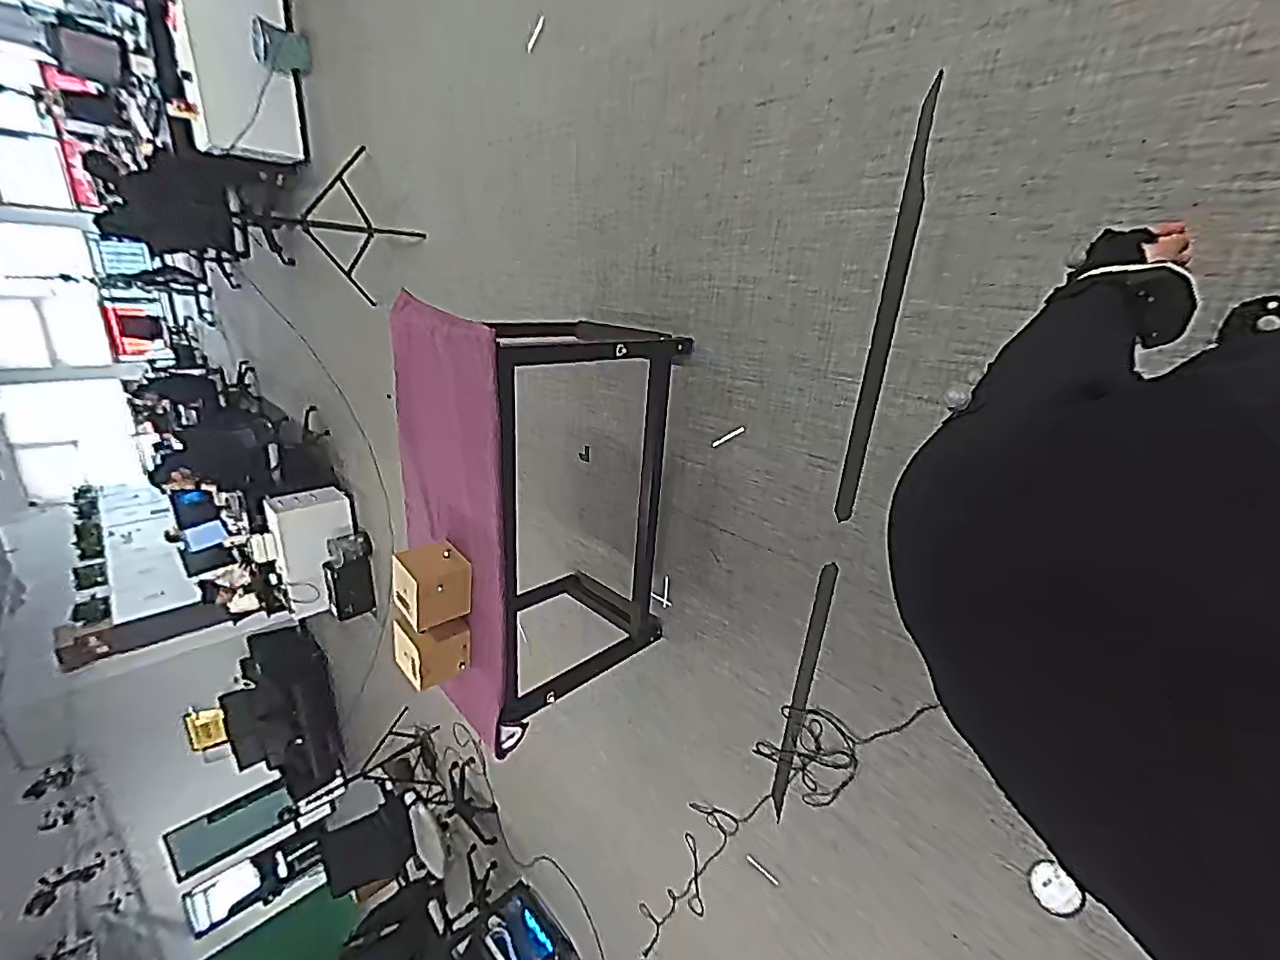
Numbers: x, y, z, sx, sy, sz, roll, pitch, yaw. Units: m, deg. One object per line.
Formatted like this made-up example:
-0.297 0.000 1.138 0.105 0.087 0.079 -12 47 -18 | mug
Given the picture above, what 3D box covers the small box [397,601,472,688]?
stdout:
-0.646 0.509 1.708 0.179 0.176 0.168 29 121 38 | small box
